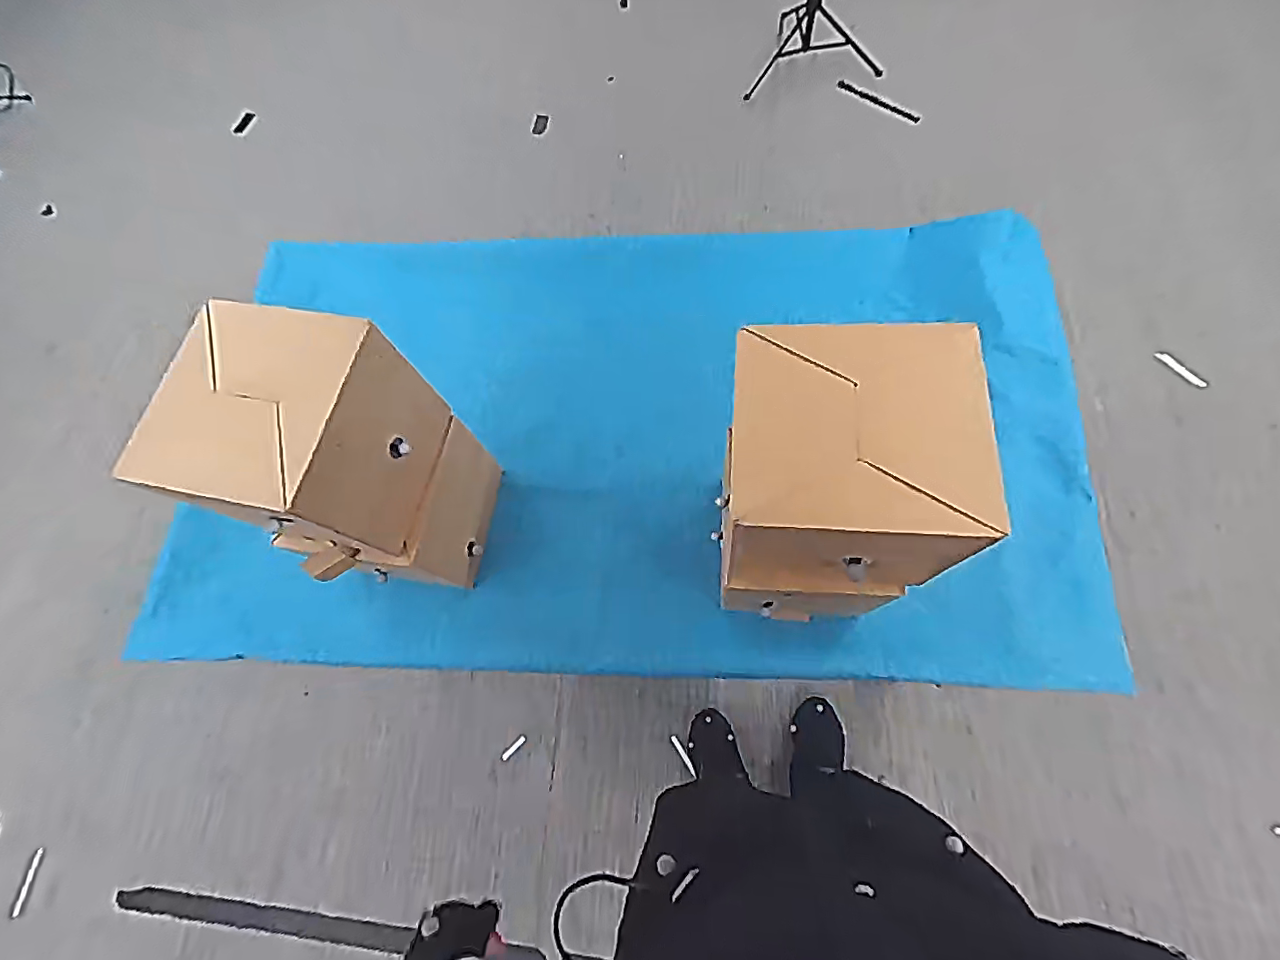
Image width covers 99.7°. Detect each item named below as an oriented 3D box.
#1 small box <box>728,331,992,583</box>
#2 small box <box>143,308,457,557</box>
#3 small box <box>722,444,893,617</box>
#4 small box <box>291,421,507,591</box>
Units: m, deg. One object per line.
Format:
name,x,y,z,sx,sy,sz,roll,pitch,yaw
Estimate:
small box,0.167,-0.011,0.464,0.179,0.176,0.168,1,68,10
small box,-0.311,-0.039,0.525,0.168,0.176,0.179,10,72,9
small box,0.178,0.053,0.614,0.168,0.176,0.179,1,69,7
small box,-0.288,0.029,0.674,0.168,0.176,0.179,6,71,8
